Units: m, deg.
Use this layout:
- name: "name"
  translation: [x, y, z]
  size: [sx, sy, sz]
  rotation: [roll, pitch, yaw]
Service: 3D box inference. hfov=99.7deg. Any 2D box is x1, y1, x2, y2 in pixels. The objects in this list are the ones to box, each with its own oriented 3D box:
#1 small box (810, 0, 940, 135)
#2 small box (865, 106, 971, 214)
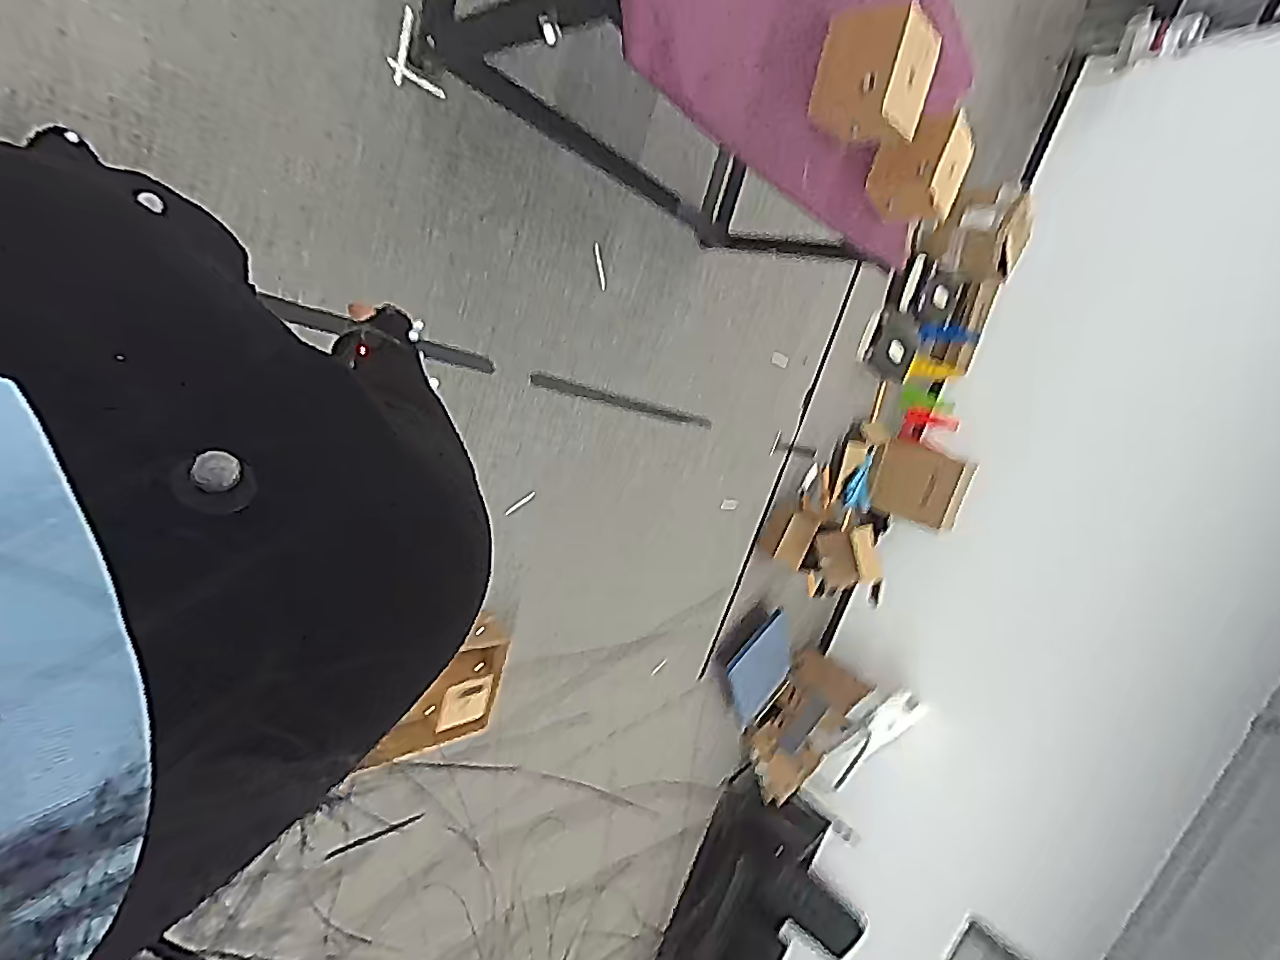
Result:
- name: "small box"
  translation: [0.472, -0.829, 1.105]
  size: [0.168, 0.176, 0.179]
  rotation: [-8, 116, -45]
- name: "small box"
  translation: [0.698, -0.799, 1.364]
  size: [0.168, 0.176, 0.179]
  rotation: [11, 102, -49]
